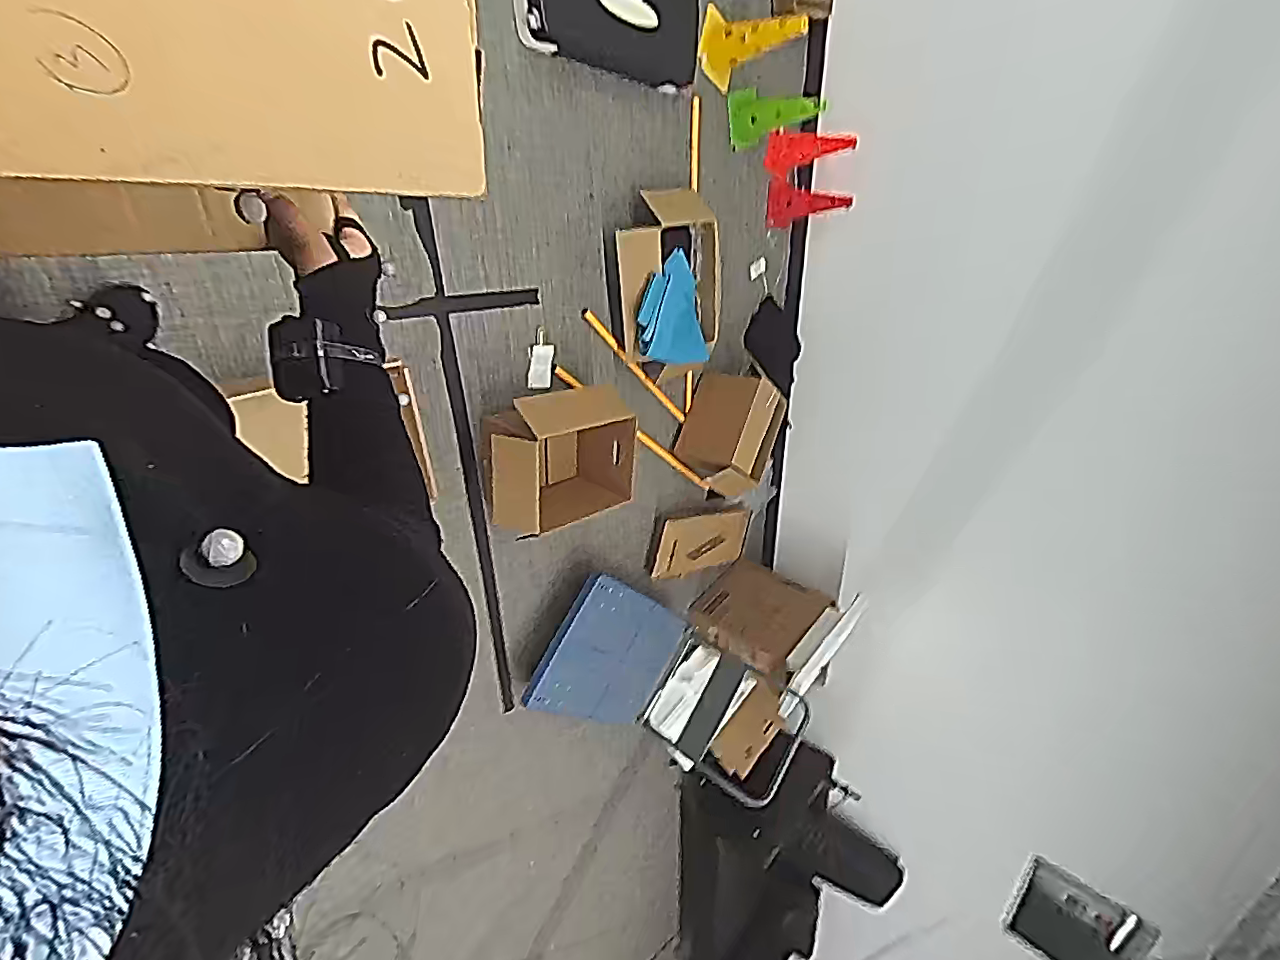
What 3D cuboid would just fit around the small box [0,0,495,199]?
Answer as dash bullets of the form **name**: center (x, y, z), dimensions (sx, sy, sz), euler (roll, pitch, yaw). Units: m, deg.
- **small box**: center (-0.183, -0.221, 0.232), dimensions (0.179, 0.176, 0.168), euler (-18, 126, -35)
